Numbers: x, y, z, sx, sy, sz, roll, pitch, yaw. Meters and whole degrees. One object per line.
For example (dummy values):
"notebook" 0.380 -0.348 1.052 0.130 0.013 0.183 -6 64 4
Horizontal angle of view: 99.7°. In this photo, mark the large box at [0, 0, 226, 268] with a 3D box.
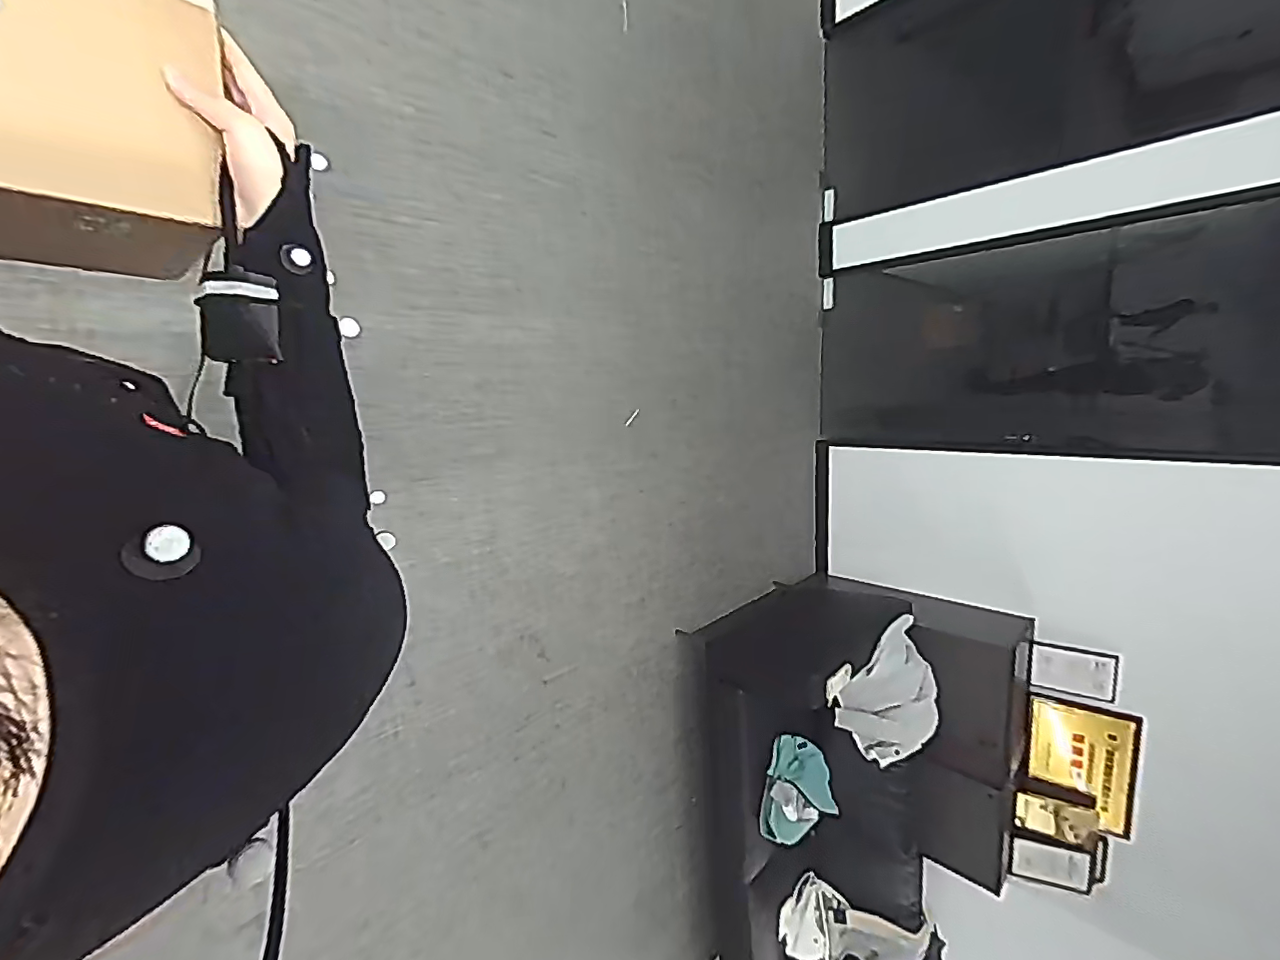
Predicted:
"large box" -0.563 -0.347 0.348 0.408 0.320 0.320 -9 105 -47
